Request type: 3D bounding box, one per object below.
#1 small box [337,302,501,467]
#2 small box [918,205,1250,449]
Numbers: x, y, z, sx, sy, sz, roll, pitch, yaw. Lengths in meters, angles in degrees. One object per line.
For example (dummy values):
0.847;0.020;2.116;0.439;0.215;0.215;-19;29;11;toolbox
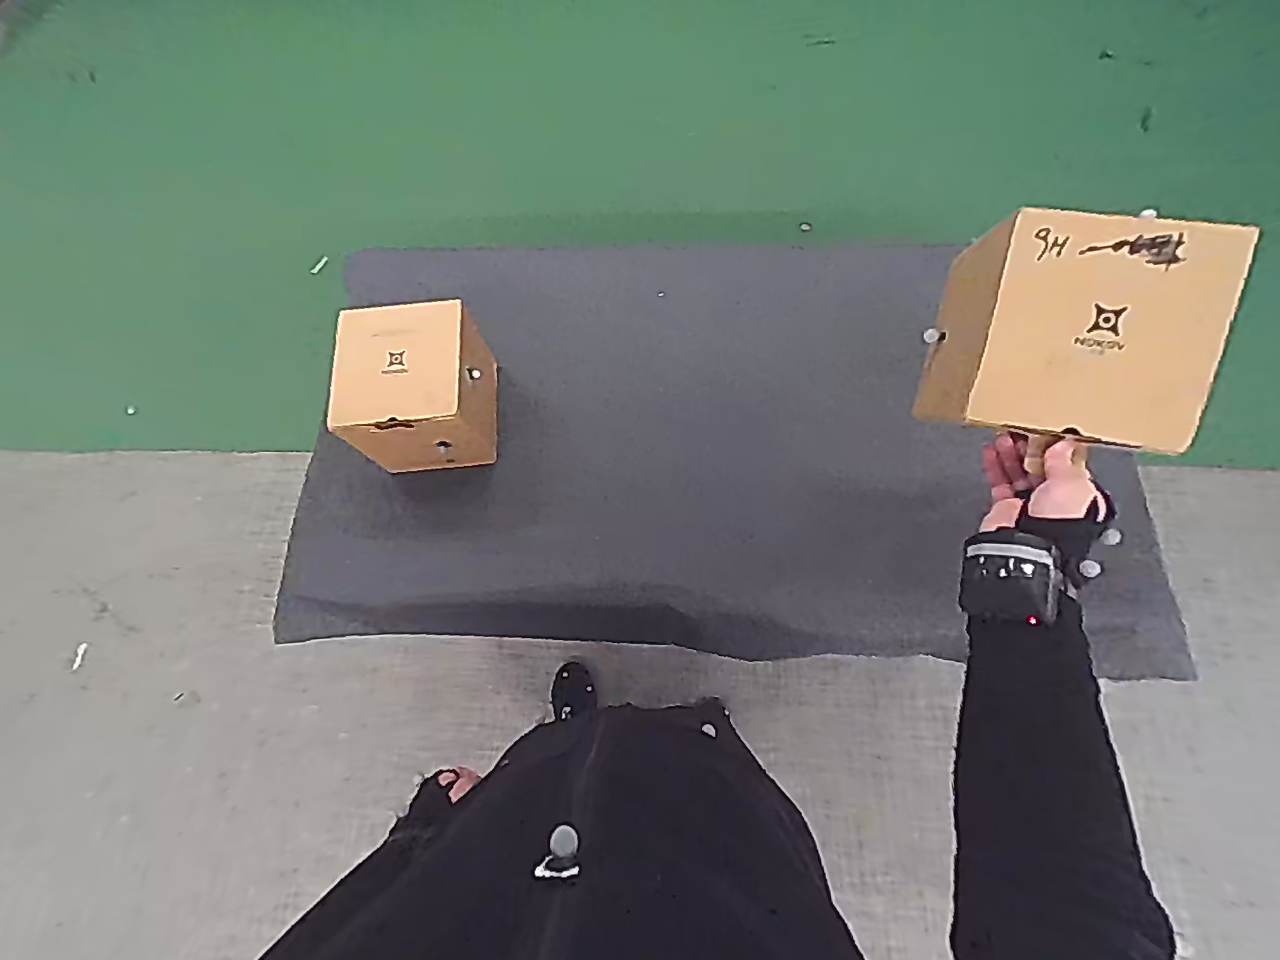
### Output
-0.302;-0.125;0.776;0.168;0.176;0.179;-5;70;0;small box
0.386;-0.137;0.515;0.168;0.176;0.179;11;101;10;small box
